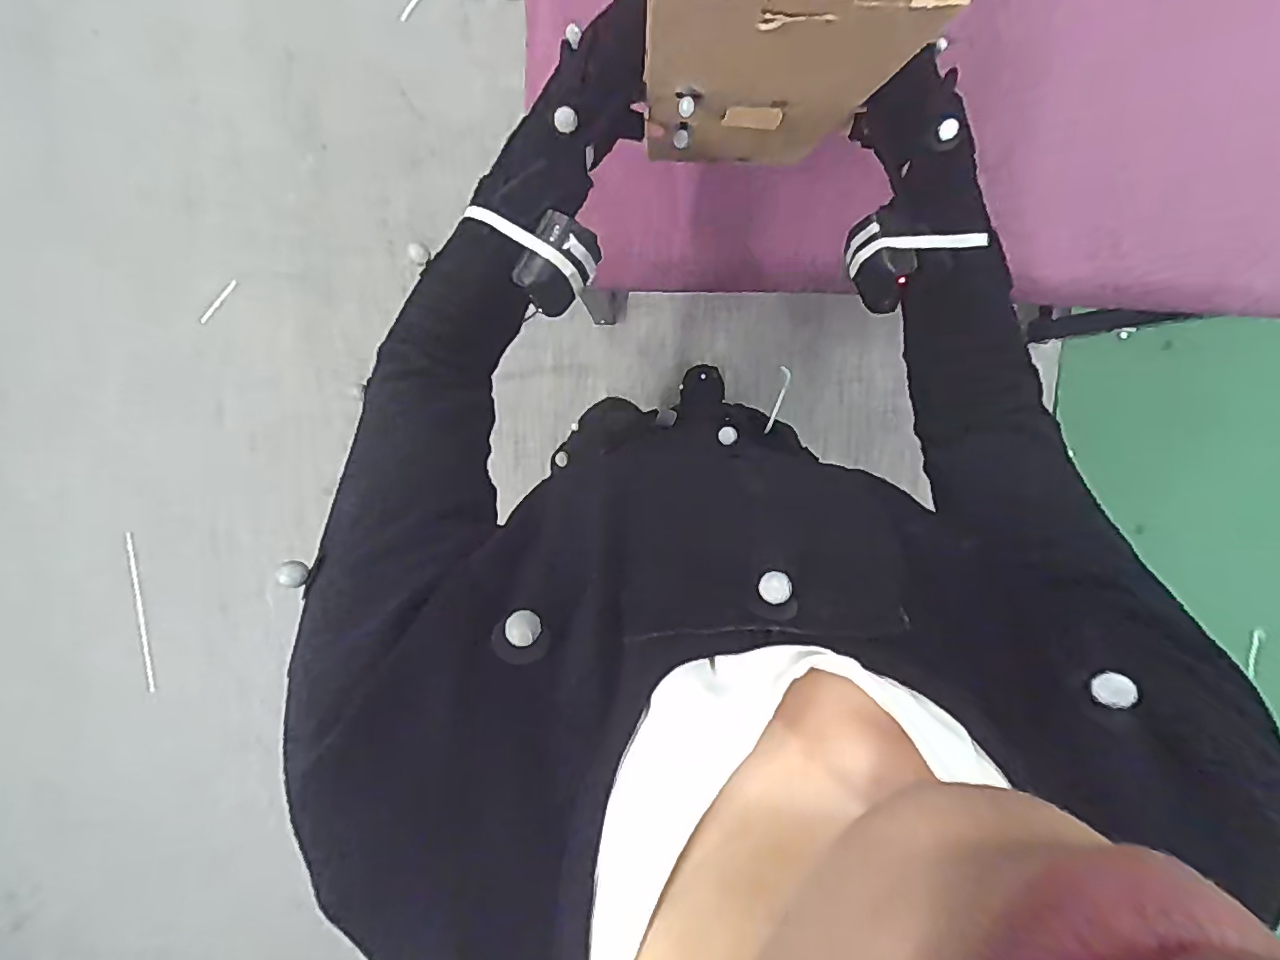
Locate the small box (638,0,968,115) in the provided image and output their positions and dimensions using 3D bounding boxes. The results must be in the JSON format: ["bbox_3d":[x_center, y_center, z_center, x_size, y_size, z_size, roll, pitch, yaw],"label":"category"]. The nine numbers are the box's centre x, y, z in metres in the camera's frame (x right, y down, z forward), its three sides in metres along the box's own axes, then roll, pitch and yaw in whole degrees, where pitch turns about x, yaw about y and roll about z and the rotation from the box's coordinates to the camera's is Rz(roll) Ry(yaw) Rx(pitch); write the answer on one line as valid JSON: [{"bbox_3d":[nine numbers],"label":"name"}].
[{"bbox_3d":[0.090,-0.345,0.318,0.168,0.176,0.179,4,108,-5],"label":"small box"}]
